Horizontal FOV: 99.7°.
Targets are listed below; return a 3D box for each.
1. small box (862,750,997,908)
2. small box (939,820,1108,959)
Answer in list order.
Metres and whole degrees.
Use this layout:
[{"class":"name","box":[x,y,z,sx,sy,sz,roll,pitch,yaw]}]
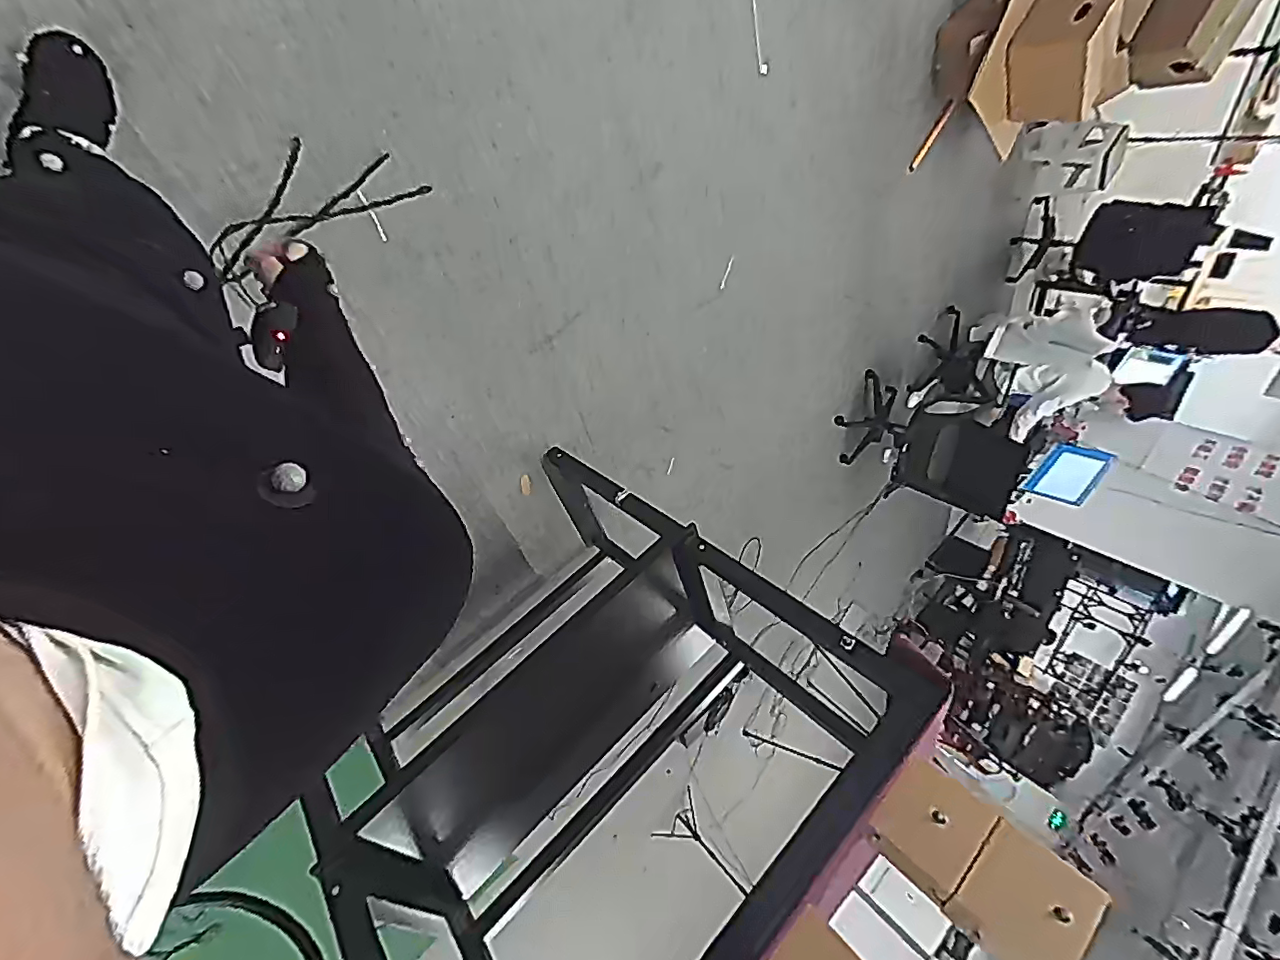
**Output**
[{"class":"small box","box":[0.552,0.674,1.051,0.179,0.176,0.168,-42,137,-20]},{"class":"small box","box":[0.658,0.741,0.945,0.179,0.176,0.168,-40,136,-20]}]
